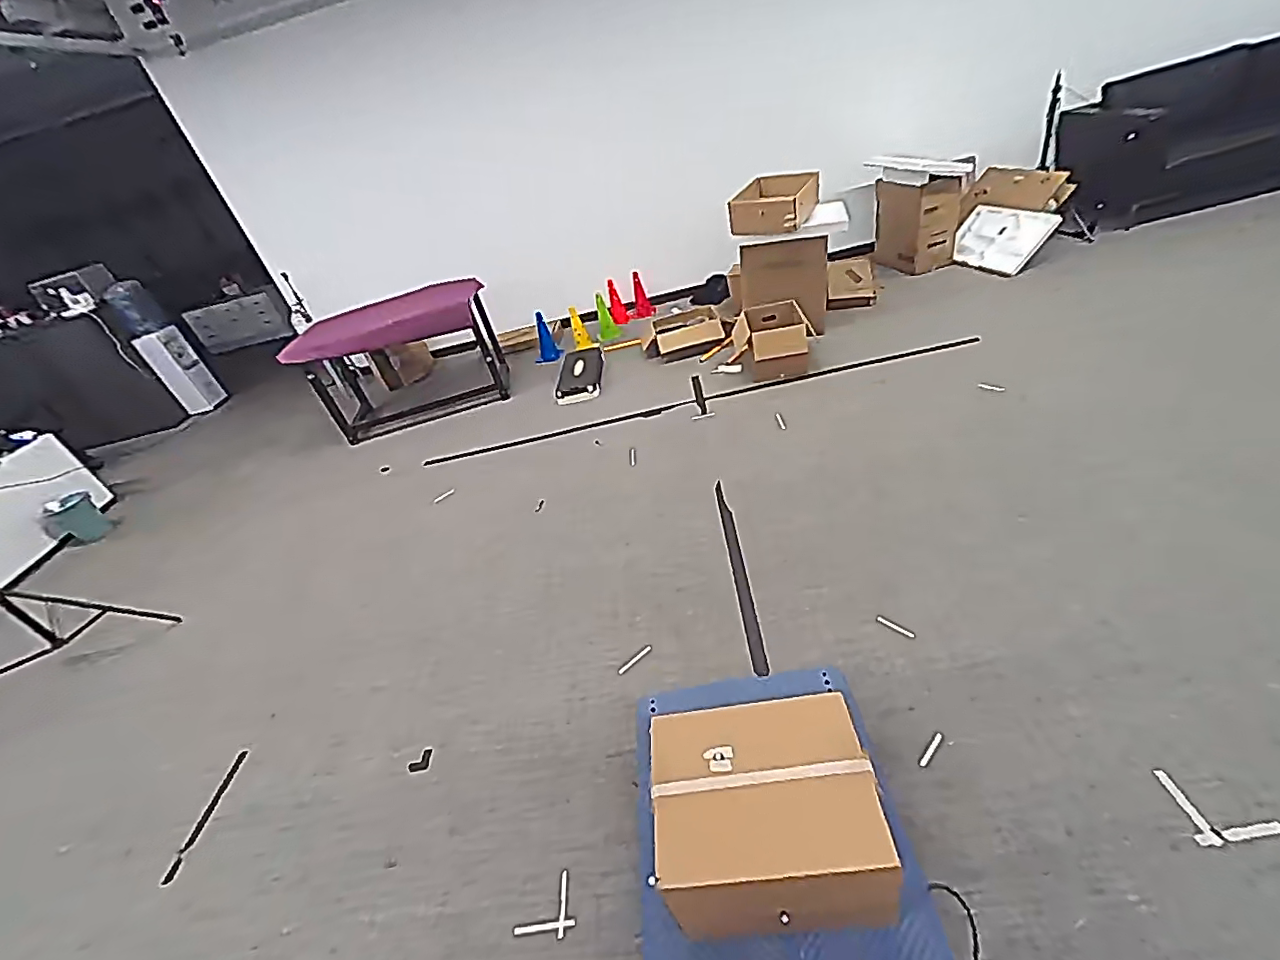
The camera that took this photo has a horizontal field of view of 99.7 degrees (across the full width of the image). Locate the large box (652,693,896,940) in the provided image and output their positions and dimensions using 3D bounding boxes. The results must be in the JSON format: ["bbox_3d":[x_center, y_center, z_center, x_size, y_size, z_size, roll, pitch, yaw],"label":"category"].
[{"bbox_3d":[0.260,0.691,1.110,0.408,0.320,0.320,-12,34,7],"label":"large box"}]
